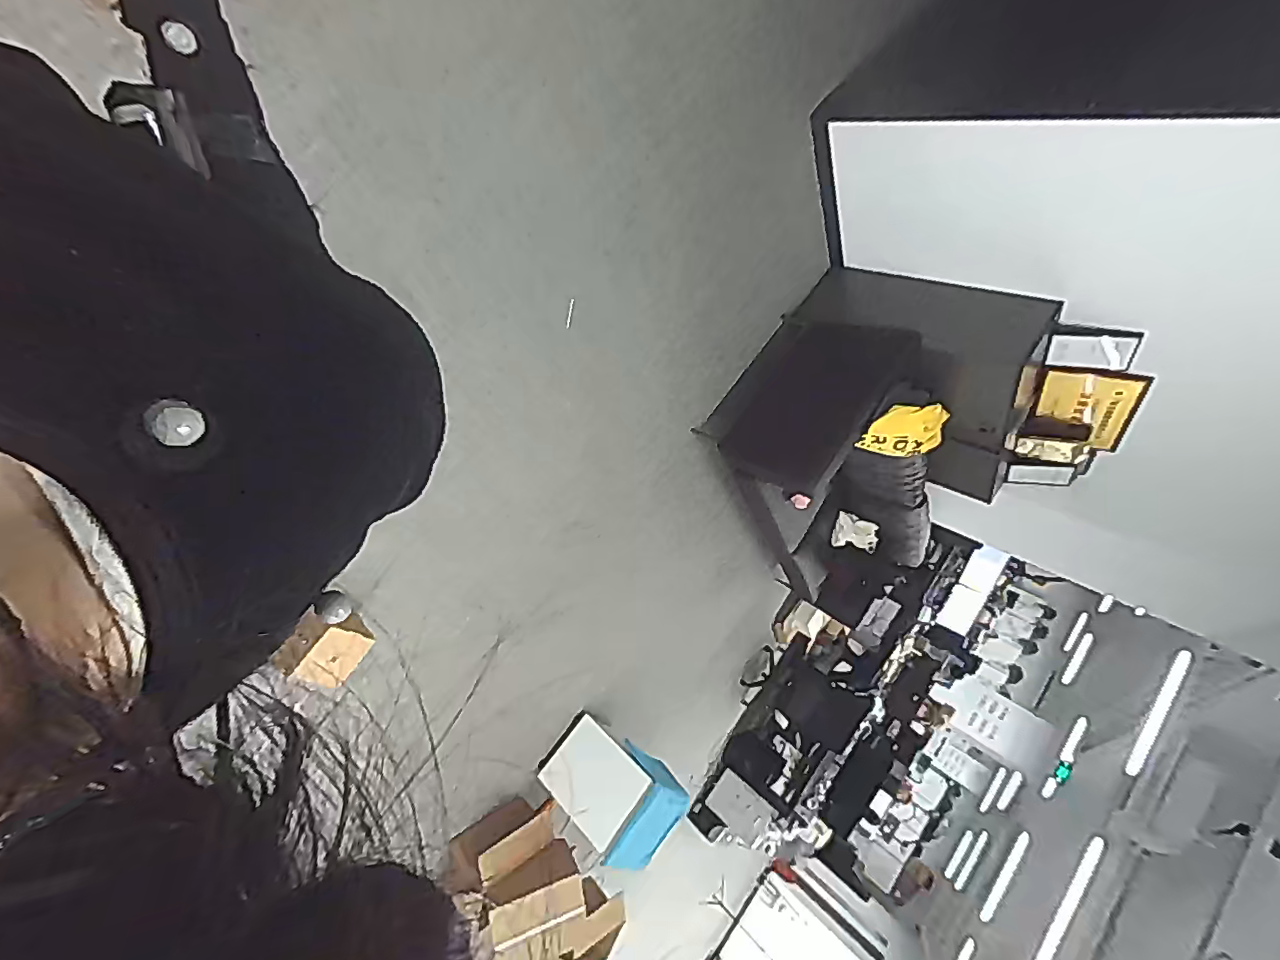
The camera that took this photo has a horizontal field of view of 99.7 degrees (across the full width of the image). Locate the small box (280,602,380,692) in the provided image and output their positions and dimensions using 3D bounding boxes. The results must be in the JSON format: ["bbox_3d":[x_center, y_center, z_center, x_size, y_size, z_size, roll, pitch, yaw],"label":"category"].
[{"bbox_3d":[-0.924,0.491,1.605,0.179,0.176,0.168,-53,142,-11],"label":"small box"}]
